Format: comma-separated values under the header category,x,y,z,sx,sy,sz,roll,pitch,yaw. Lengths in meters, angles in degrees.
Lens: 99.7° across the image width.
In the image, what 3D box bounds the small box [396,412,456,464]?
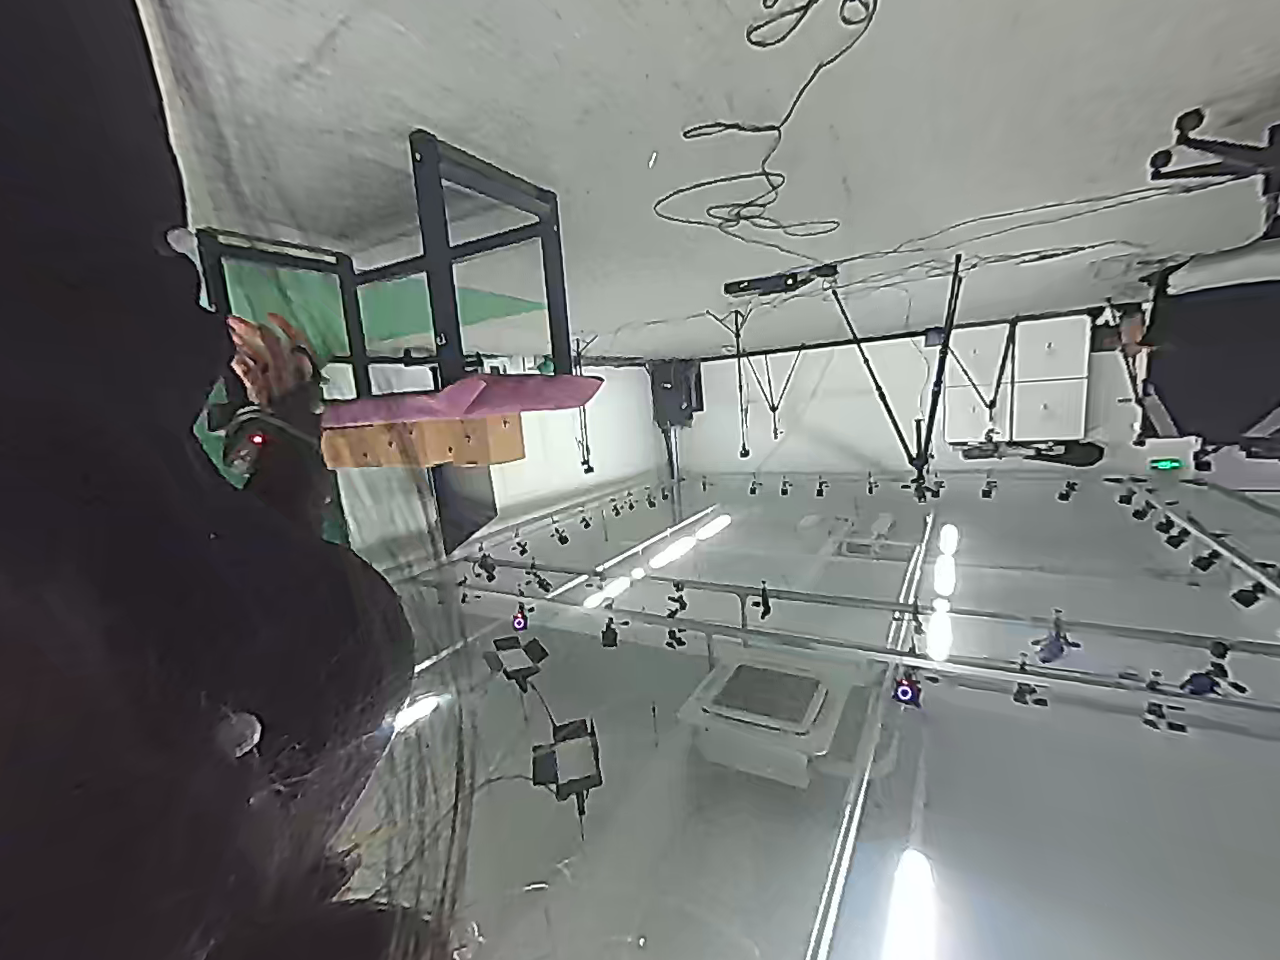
category,x,y,z,sx,sy,sz,roll,pitch,yaw
small box,-0.743,-0.152,1.933,0.168,0.176,0.179,1,-171,33

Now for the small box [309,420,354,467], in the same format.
category,x,y,z,sx,sy,sz,roll,pitch,yaw
small box,-1.208,-0.149,2.162,0.168,0.176,0.179,-13,-168,-40

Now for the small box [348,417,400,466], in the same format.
category,x,y,z,sx,sy,sz,roll,pitch,yaw
small box,-0.976,-0.152,2.047,0.179,0.176,0.168,-1,-171,25

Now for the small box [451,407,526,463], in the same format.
category,x,y,z,sx,sy,sz,roll,pitch,yaw
small box,-0.506,-0.152,1.805,0.168,0.176,0.179,0,-171,27
